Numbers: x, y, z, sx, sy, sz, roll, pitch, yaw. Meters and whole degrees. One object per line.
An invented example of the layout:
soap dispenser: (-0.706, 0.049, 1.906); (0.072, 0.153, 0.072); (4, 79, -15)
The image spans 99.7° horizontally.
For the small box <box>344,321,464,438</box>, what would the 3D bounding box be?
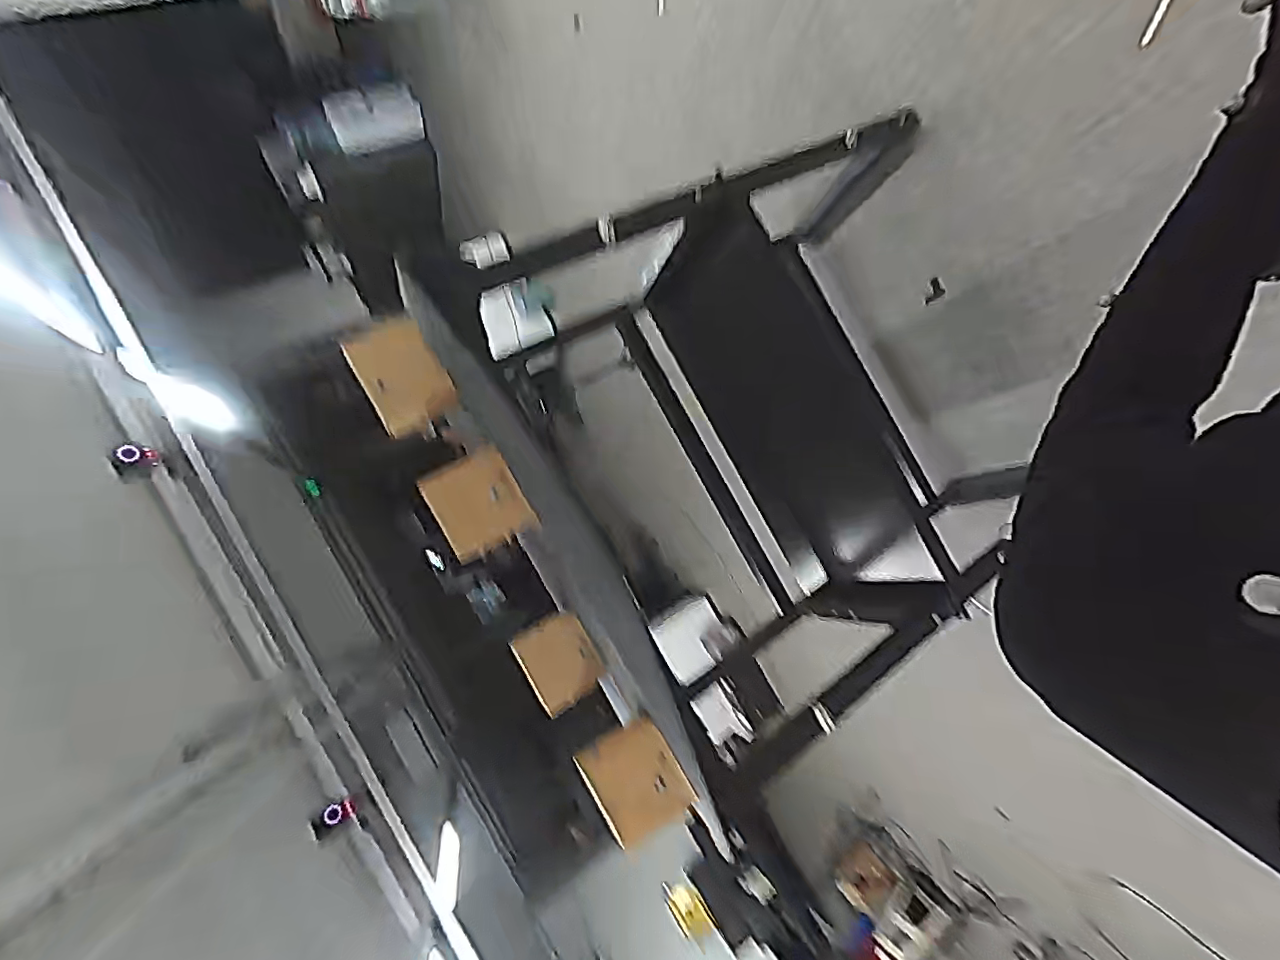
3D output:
small box: (-0.489, -0.209, 1.149); (0.168, 0.176, 0.179); (61, 161, -4)

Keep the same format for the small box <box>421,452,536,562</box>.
small box: (-0.334, 0.058, 1.138); (0.168, 0.176, 0.179); (60, 162, -2)

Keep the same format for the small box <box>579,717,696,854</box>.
small box: (-0.007, 0.615, 1.117); (0.168, 0.176, 0.179); (58, 159, 10)
